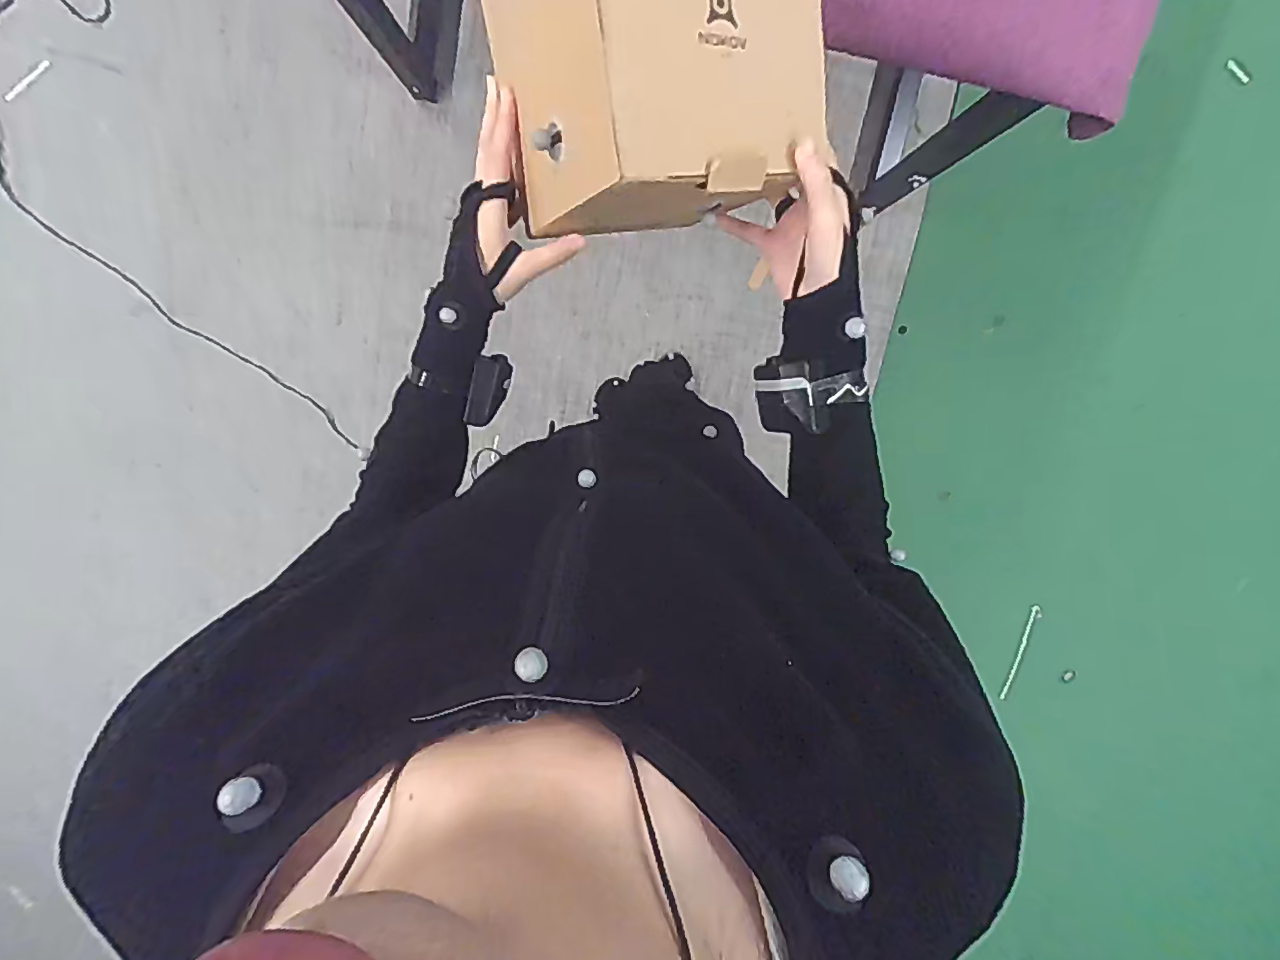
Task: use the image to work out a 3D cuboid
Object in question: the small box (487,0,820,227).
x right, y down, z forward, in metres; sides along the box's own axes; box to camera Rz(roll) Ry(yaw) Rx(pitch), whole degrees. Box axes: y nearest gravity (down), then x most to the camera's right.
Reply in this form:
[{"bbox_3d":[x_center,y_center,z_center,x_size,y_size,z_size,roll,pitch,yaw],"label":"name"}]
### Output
[{"bbox_3d":[0.004,-0.286,0.383,0.168,0.176,0.179,-16,108,-27],"label":"small box"}]
